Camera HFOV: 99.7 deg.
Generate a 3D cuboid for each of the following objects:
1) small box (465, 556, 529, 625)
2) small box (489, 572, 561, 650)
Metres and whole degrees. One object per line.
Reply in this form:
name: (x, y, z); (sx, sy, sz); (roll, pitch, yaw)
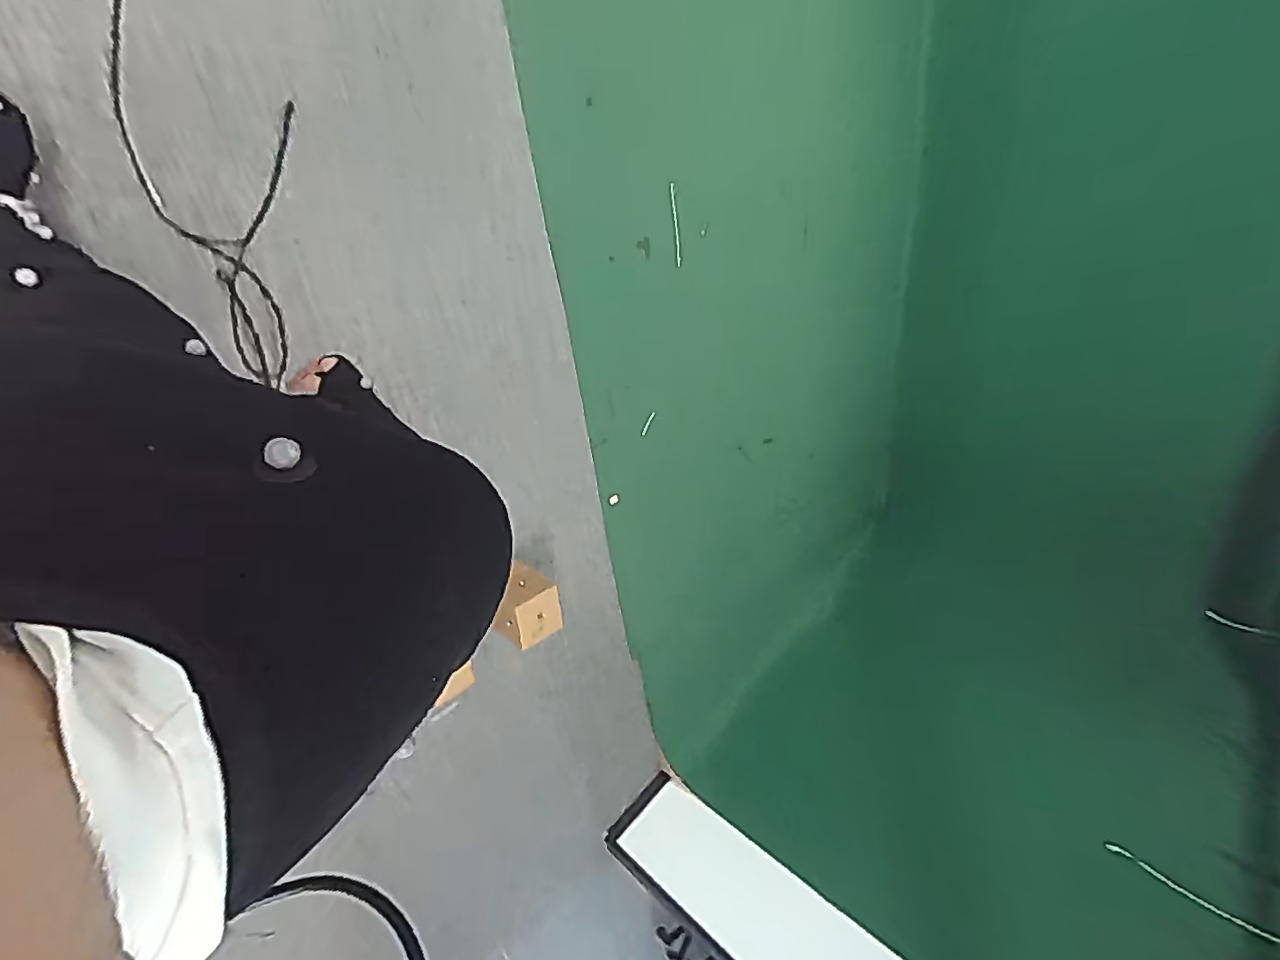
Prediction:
small box: (-0.501, 0.387, 1.927); (0.168, 0.176, 0.179); (-26, 123, -39)
small box: (-0.387, 0.428, 1.815); (0.168, 0.176, 0.179); (-24, 121, -39)
